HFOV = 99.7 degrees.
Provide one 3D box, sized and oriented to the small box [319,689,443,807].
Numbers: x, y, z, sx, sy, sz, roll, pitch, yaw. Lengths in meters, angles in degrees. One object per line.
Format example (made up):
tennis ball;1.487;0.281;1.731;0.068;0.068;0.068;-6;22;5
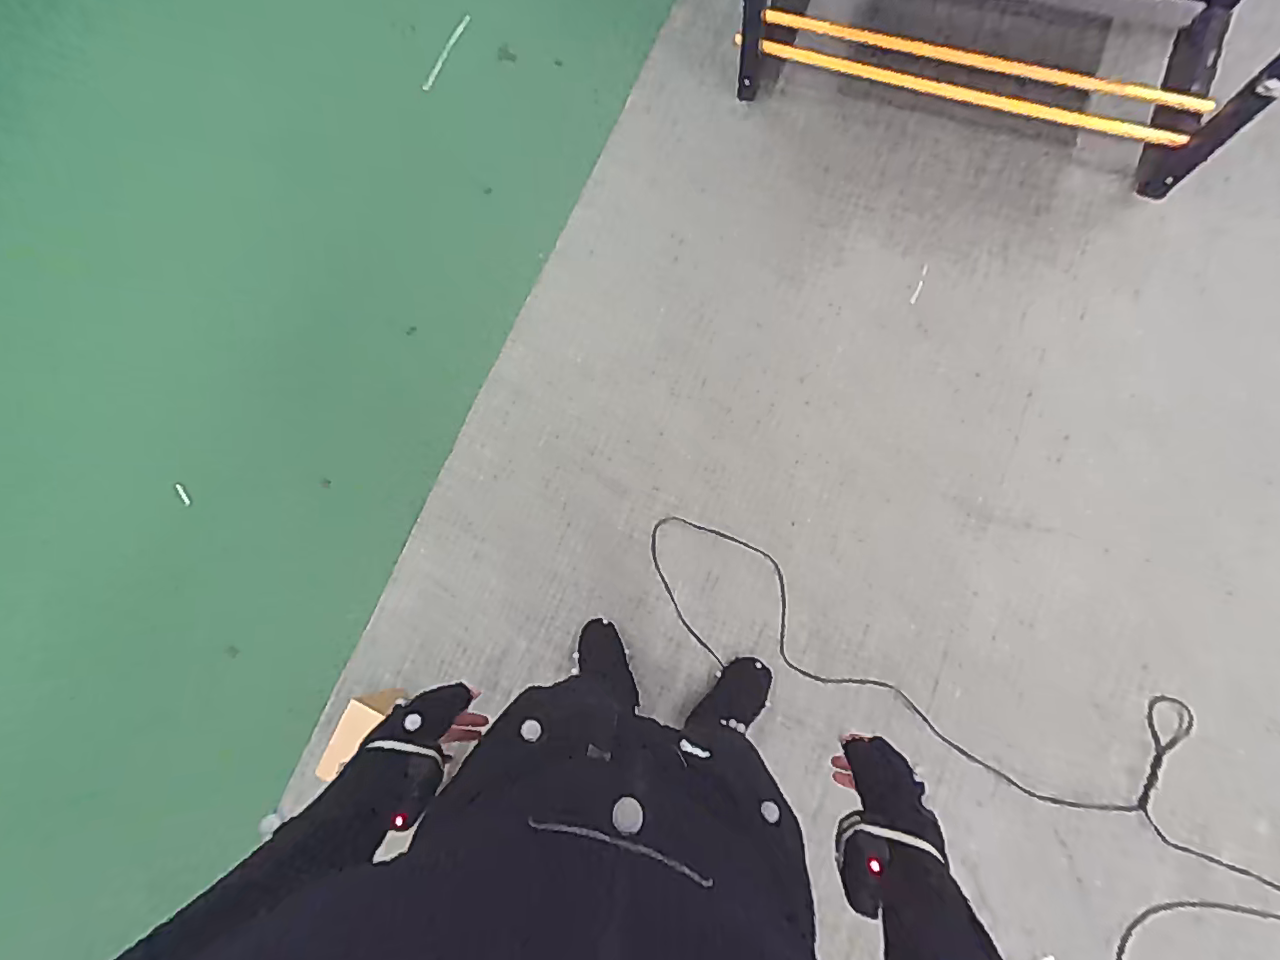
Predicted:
small box;-0.587;0.608;1.255;0.168;0.176;0.179;22;80;11
